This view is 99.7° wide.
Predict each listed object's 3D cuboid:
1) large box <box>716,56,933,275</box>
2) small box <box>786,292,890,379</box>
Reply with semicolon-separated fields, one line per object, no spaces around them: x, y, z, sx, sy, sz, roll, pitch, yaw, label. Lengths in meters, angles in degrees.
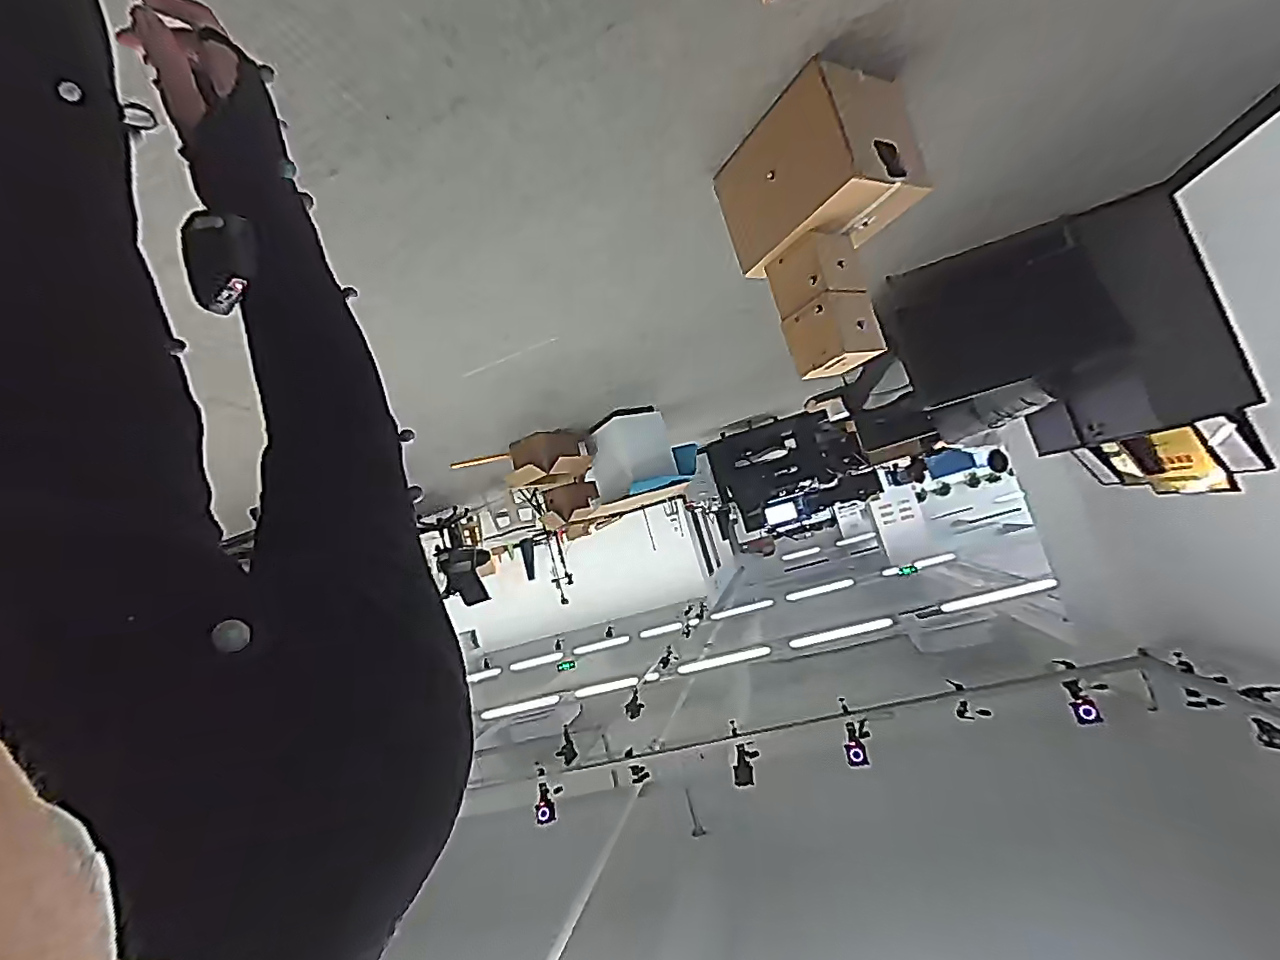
0.469;-0.802;1.449;0.320;0.320;0.408;-14;171;-30;large box
0.520;-0.388;1.442;0.179;0.176;0.168;-13;172;-32;small box
